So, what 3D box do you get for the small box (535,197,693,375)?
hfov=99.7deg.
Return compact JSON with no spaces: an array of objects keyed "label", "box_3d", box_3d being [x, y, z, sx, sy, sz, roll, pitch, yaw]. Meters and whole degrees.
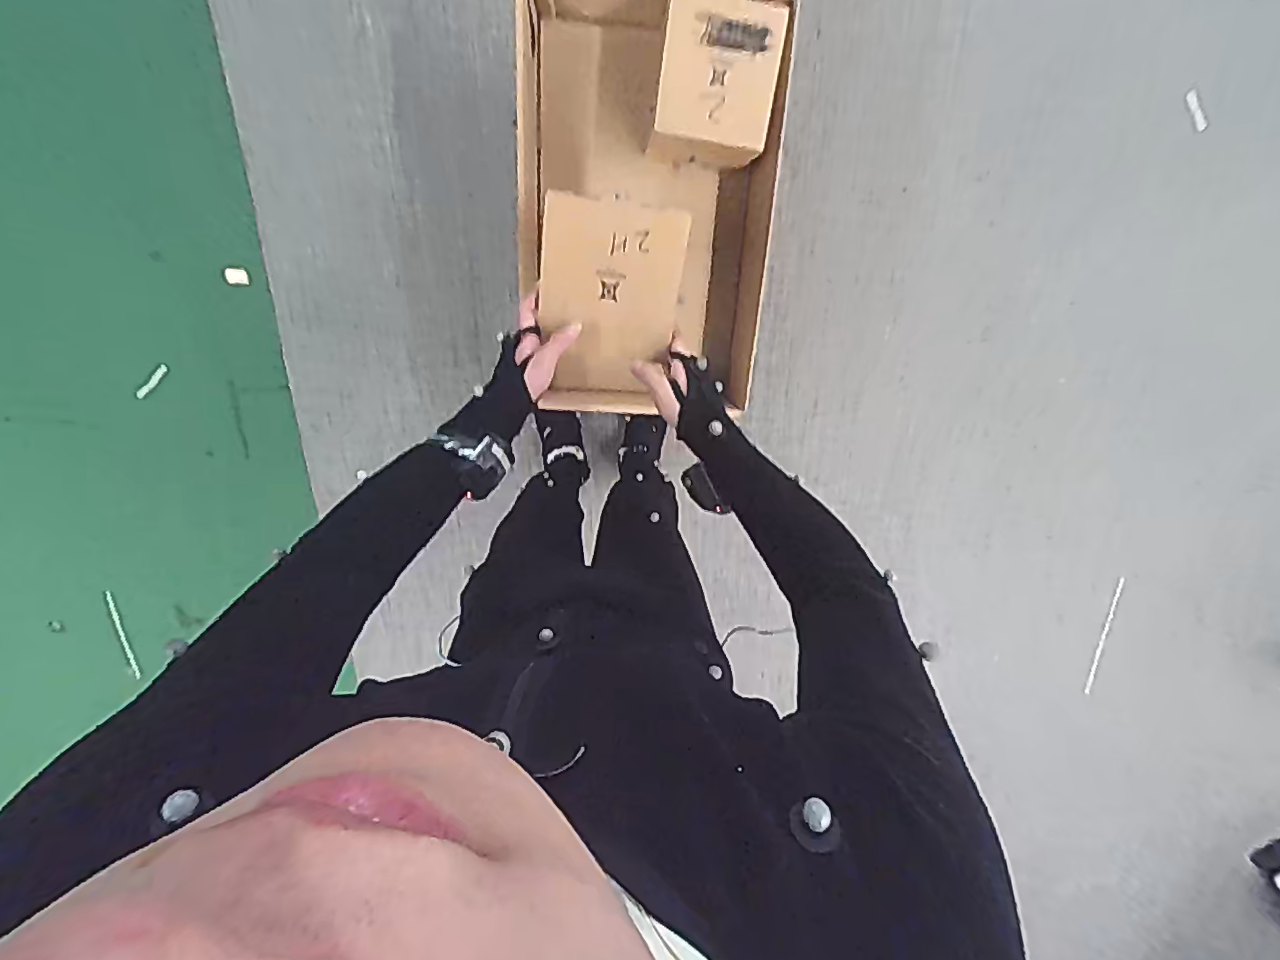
[{"label":"small box","box_3d":[-0.036,-0.251,0.697,0.168,0.176,0.179,7,114,-6]}]
